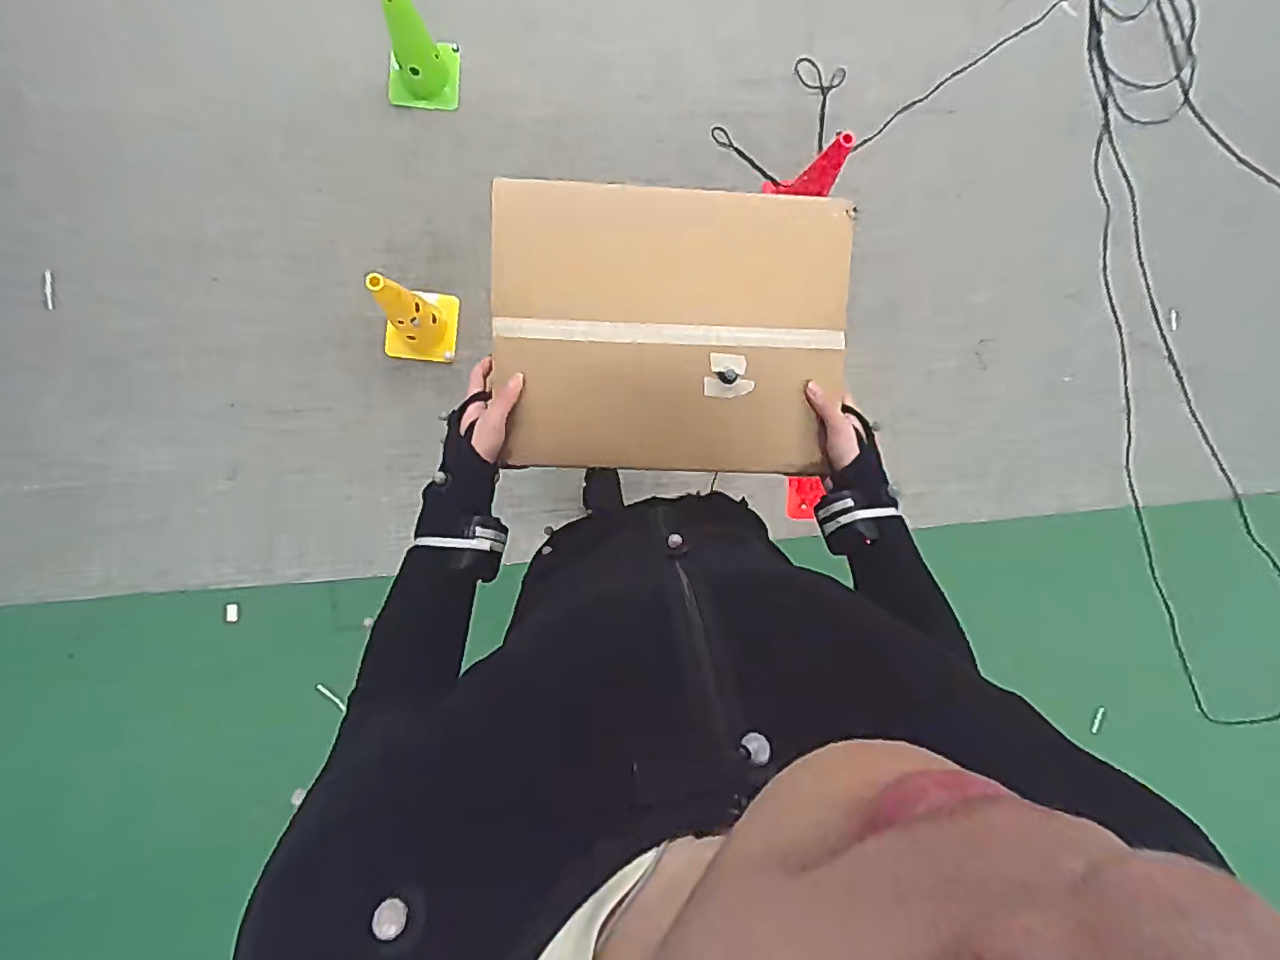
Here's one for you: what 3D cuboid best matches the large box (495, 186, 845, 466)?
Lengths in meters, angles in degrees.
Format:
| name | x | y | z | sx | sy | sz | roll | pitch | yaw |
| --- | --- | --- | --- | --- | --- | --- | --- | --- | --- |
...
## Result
| name | x | y | z | sx | sy | sz | roll | pitch | yaw |
| --- | --- | --- | --- | --- | --- | --- | --- | --- | --- |
| large box | 0.026 | -0.189 | 0.771 | 0.408 | 0.320 | 0.320 | 1 | 98 | -4 |

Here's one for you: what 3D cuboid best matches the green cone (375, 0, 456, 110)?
| name | x | y | z | sx | sy | sz | roll | pitch | yaw |
| --- | --- | --- | --- | --- | --- | --- | --- | --- | --- |
| green cone | -0.634 | -1.200 | 1.428 | 0.200 | 0.368 | 0.202 | 1 | 91 | -5 |

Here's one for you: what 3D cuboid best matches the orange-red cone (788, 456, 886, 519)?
| name | x | y | z | sx | sy | sz | roll | pitch | yaw |
| --- | --- | --- | --- | --- | --- | --- | --- | --- | --- |
| orange-red cone | 0.580 | 0.021 | 1.517 | 0.199 | 0.360 | 0.198 | 3 | 90 | -6 |
